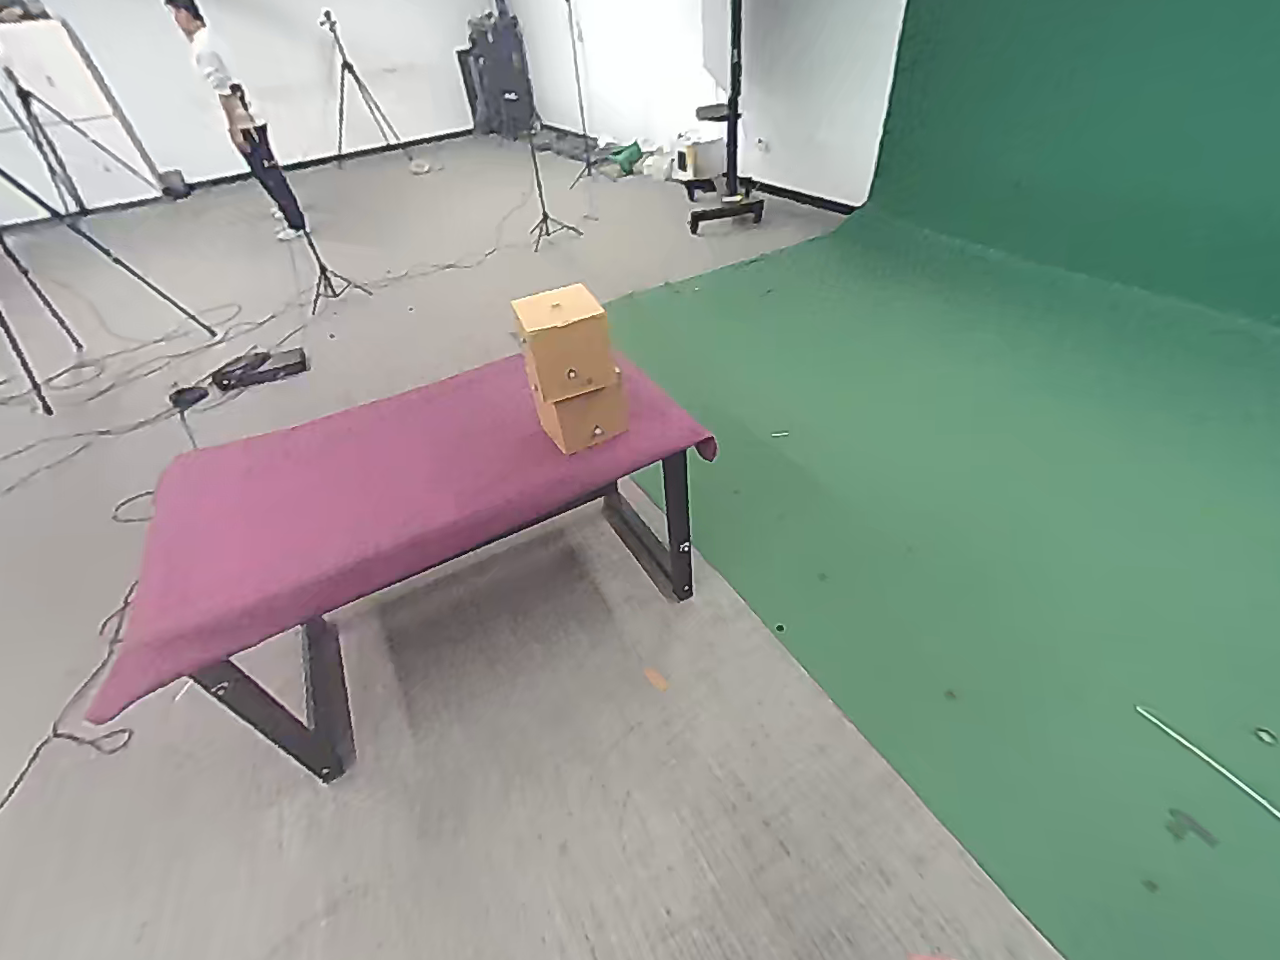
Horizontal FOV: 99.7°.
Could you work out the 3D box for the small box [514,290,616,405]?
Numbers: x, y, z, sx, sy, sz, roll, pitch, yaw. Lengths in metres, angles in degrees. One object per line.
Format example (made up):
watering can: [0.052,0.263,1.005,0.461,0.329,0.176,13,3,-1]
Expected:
small box: [-0.163,-0.289,1.182,0.168,0.176,0.179,-19,43,-12]

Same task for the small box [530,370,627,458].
small box: [-0.143,-0.183,1.307,0.179,0.176,0.168,-24,42,-18]
